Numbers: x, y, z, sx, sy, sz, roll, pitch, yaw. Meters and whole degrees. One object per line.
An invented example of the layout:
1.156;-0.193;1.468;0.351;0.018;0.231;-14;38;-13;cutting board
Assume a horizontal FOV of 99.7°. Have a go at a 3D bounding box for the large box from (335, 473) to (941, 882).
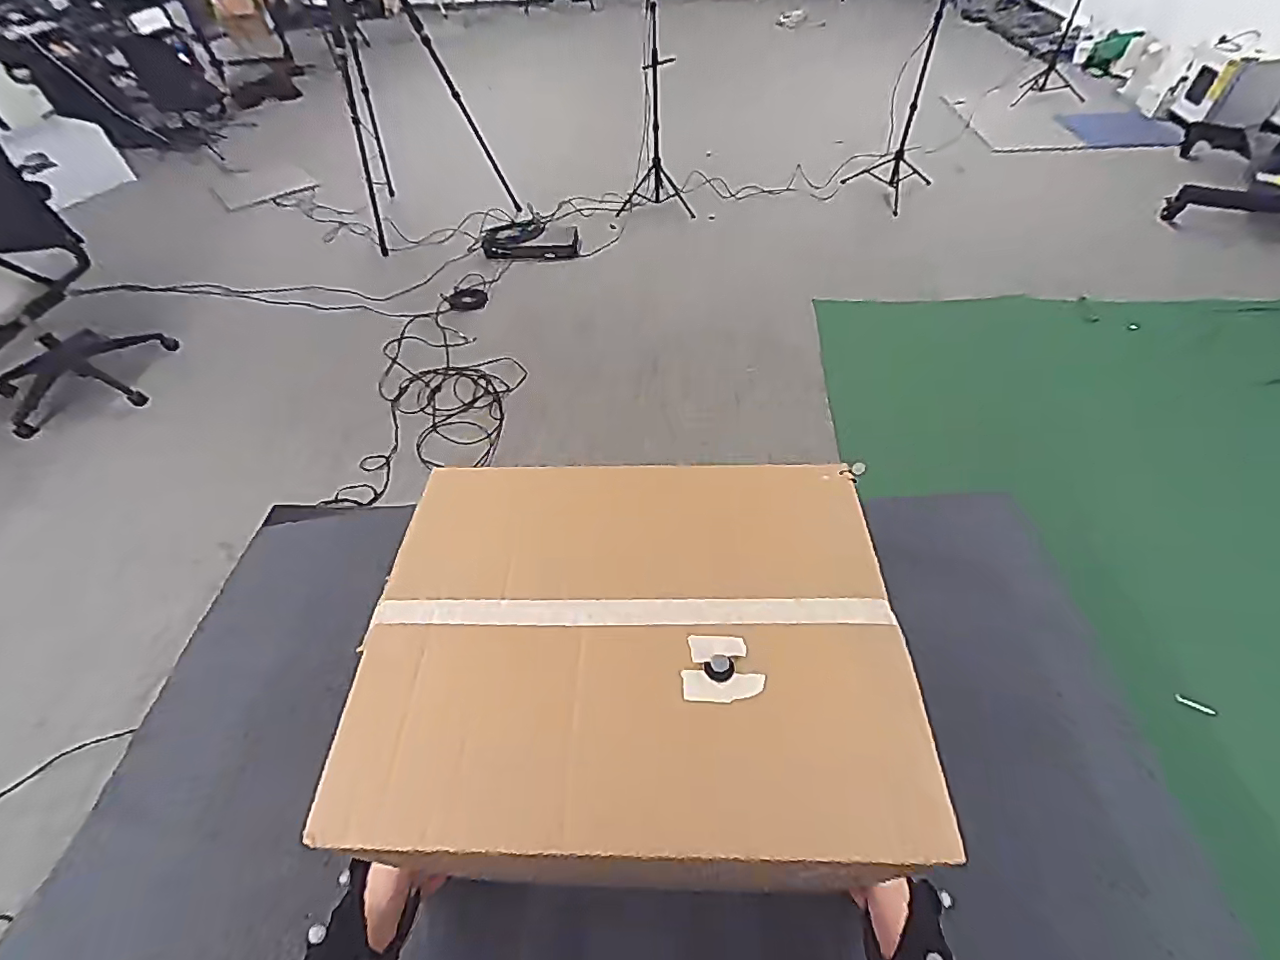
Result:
0.001;0.209;0.556;0.408;0.320;0.320;0;51;2;large box
